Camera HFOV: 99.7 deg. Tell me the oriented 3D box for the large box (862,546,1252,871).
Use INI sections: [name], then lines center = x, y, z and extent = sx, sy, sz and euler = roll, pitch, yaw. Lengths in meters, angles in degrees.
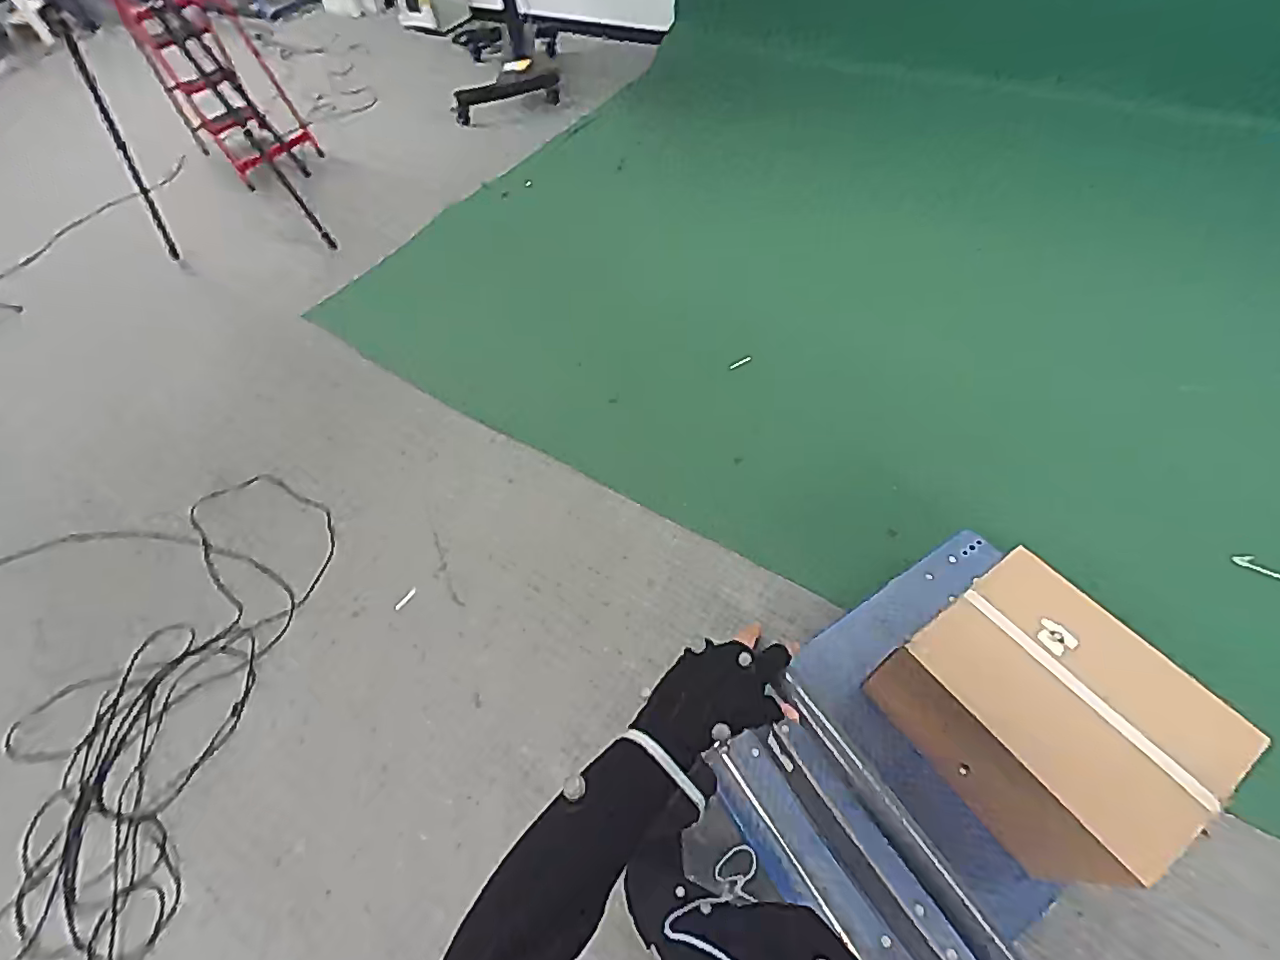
[large box]
center = 0.695, 0.408, 0.987
extent = 0.320, 0.320, 0.408
euler = -33, 58, -16
